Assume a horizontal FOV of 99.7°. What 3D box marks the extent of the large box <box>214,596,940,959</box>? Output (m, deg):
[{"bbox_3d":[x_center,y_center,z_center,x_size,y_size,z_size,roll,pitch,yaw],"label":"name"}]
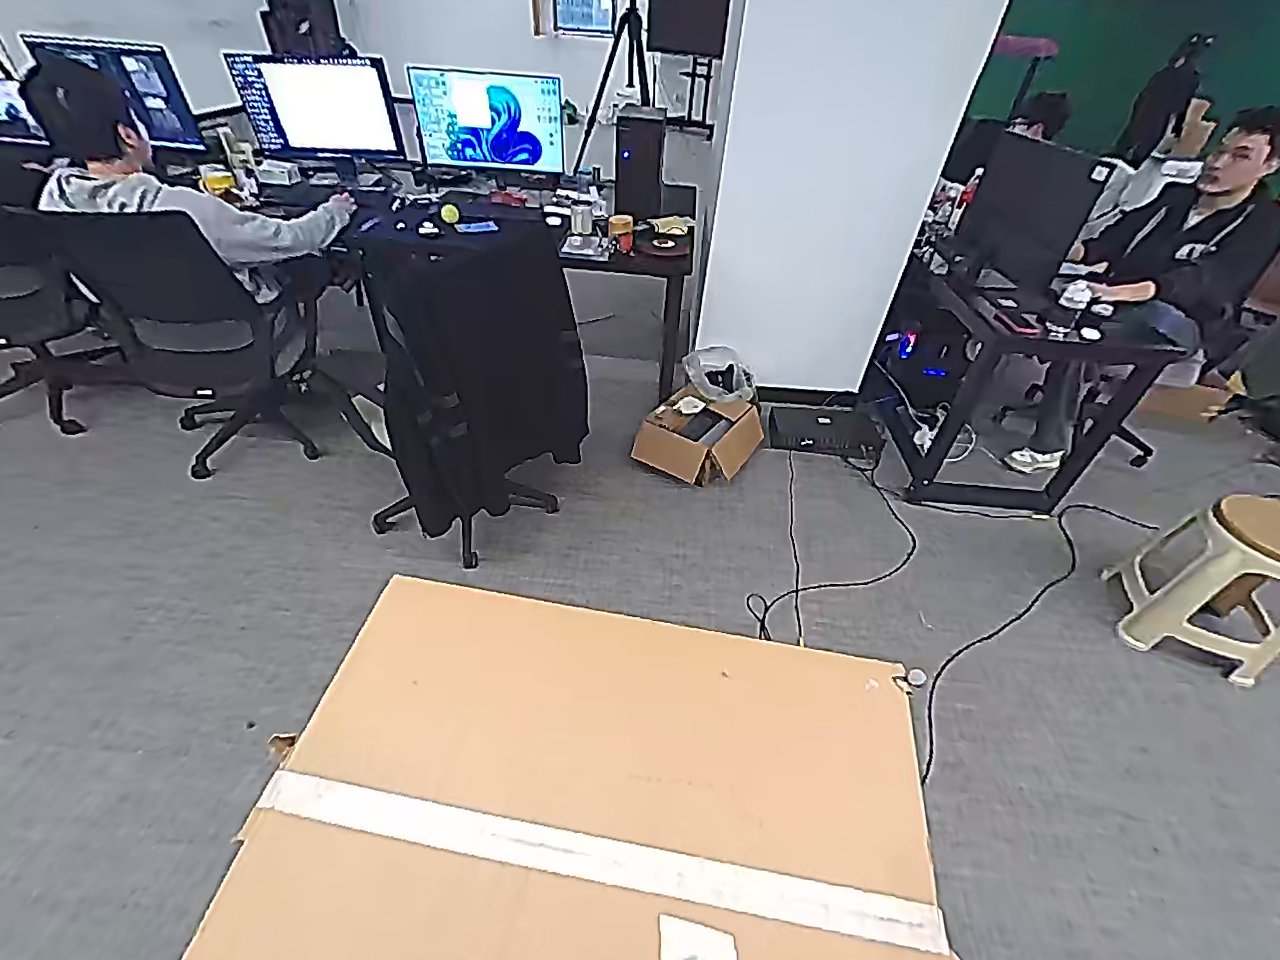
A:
[{"bbox_3d":[-0.032,0.330,0.439,0.408,0.320,0.320,9,50,4],"label":"large box"}]
